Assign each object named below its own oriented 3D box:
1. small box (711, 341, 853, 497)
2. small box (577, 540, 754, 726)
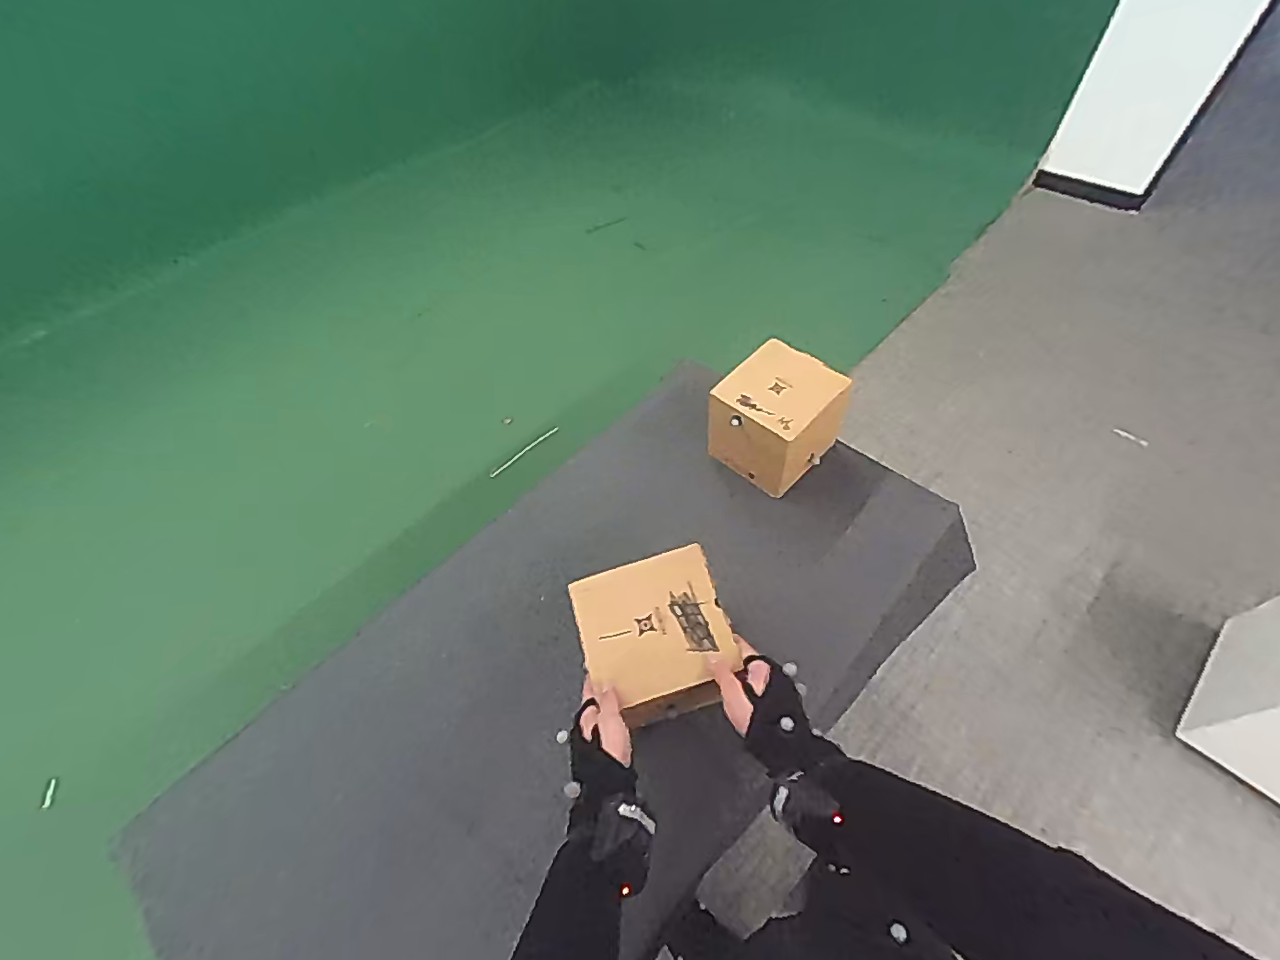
[{"bbox_3d":[0.239,-0.105,0.956,0.179,0.176,0.168,-39,61,-23],"label":"small box"},{"bbox_3d":[0.029,0.203,0.699,0.179,0.176,0.168,-15,58,-4],"label":"small box"}]
